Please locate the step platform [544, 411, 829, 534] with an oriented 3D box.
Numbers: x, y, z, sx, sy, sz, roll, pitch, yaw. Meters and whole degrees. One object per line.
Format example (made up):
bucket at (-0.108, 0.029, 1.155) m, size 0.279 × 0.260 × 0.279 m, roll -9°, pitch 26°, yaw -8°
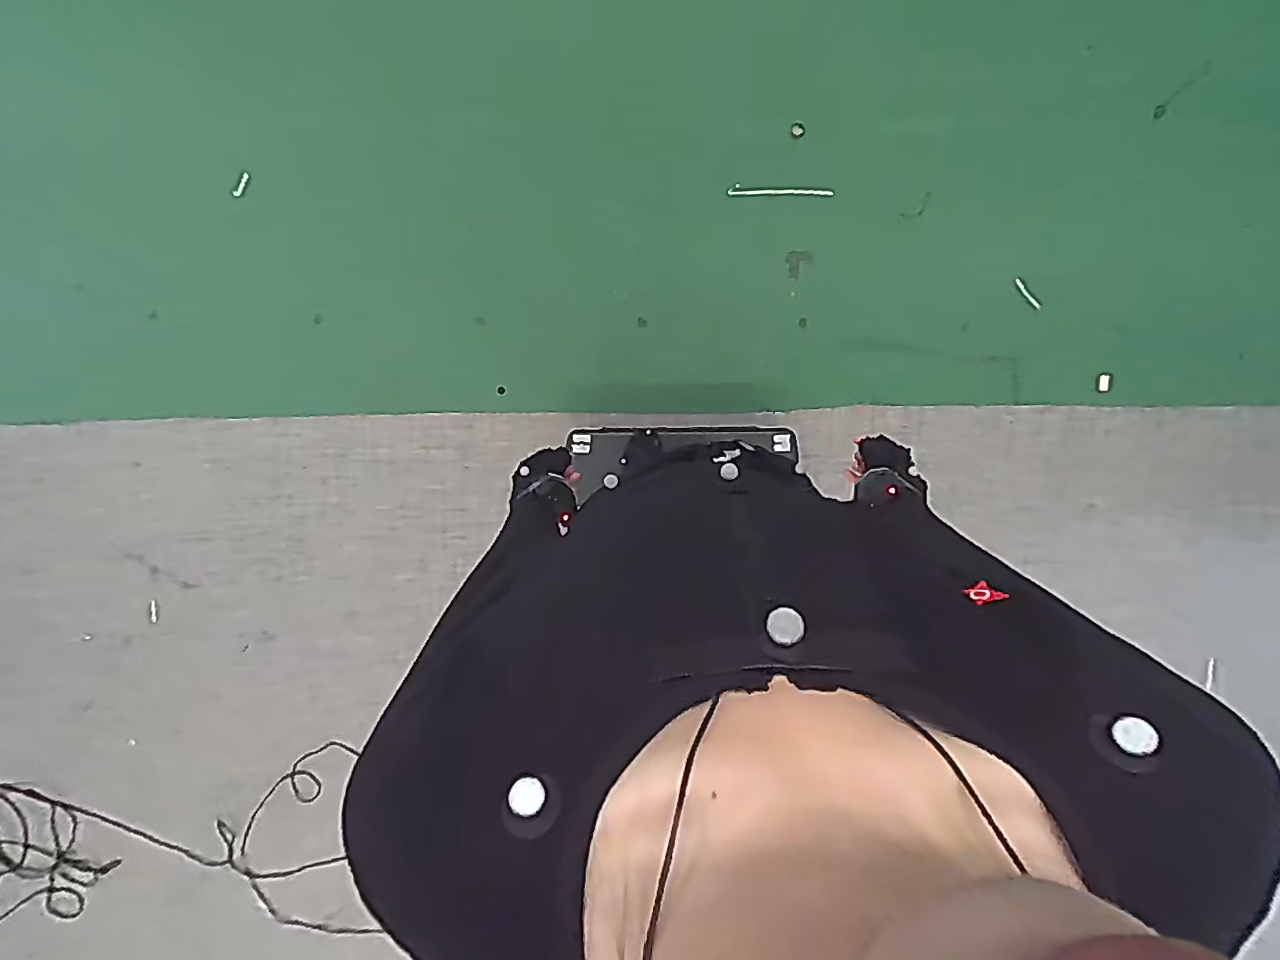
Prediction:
step platform at (0.111, -0.026, 1.385) m, size 0.684 × 0.204 × 0.286 m, roll -1°, pitch 96°, yaw 0°
